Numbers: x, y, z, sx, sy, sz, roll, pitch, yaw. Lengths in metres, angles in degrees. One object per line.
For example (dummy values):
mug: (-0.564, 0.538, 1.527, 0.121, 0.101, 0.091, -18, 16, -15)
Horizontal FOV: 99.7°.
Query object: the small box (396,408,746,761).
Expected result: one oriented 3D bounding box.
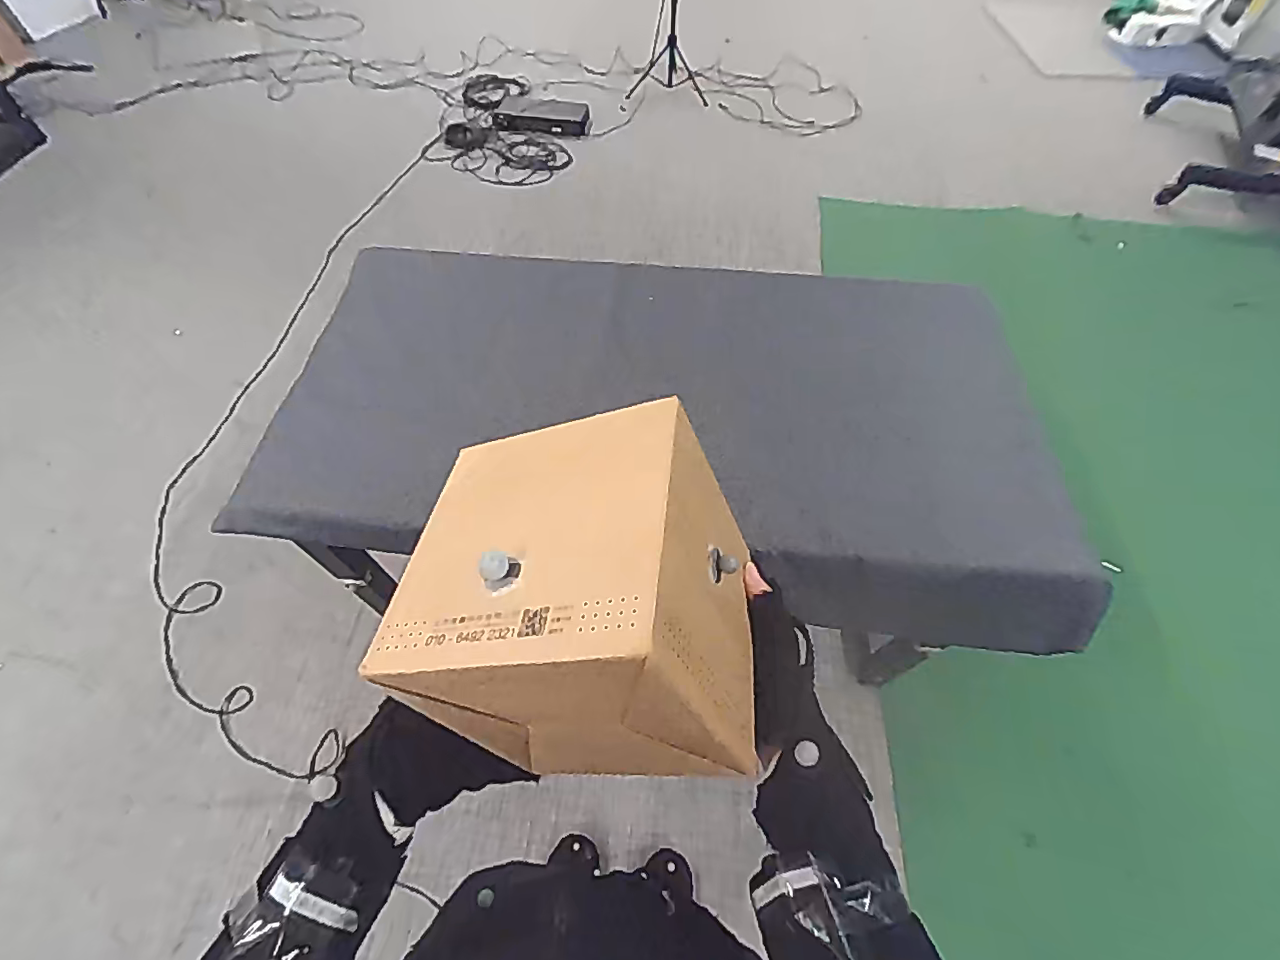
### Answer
small box: (-0.029, 0.084, 0.375, 0.168, 0.179, 0.176, -12, 46, 21)
